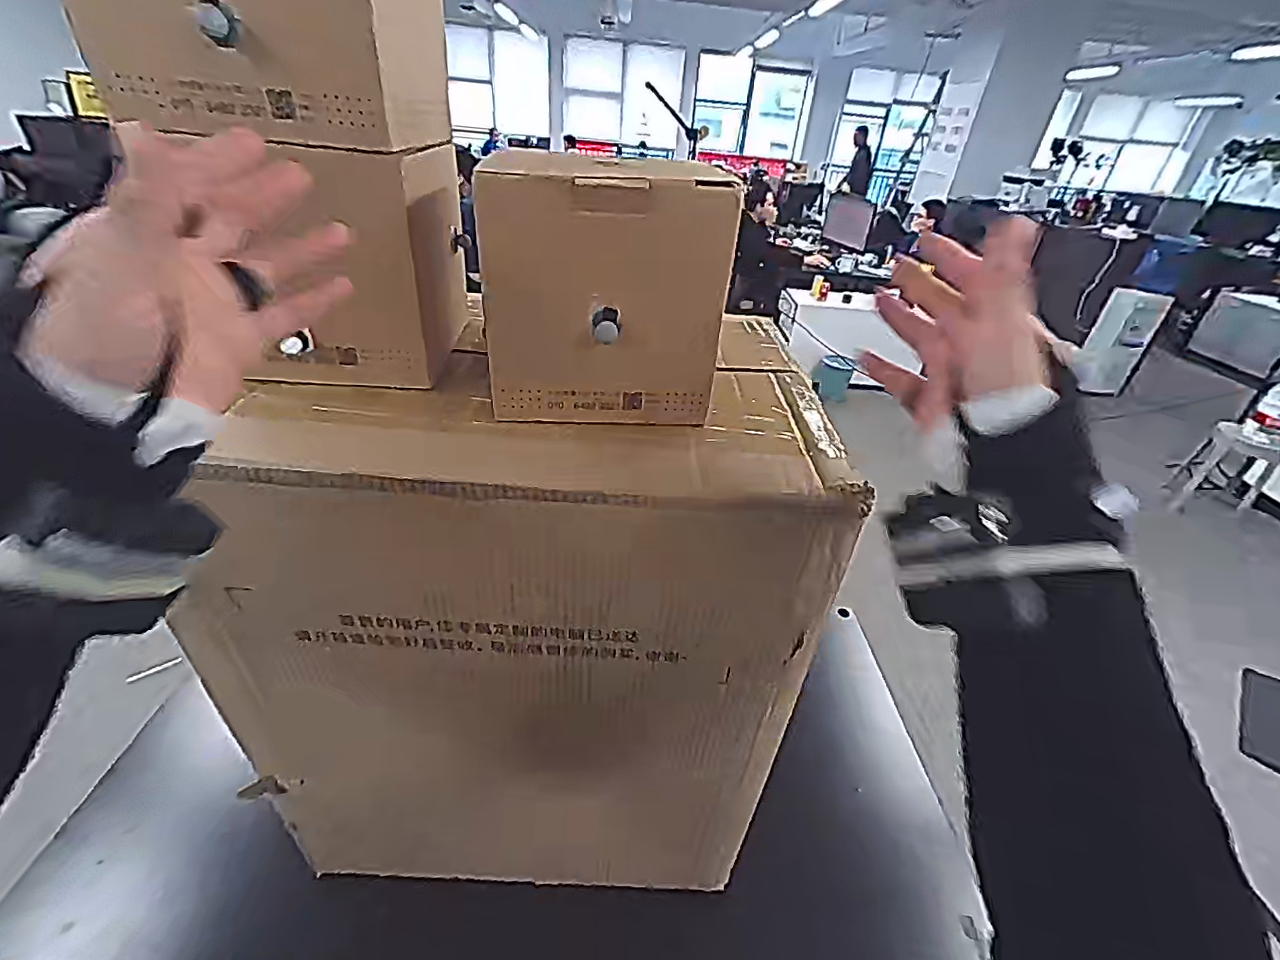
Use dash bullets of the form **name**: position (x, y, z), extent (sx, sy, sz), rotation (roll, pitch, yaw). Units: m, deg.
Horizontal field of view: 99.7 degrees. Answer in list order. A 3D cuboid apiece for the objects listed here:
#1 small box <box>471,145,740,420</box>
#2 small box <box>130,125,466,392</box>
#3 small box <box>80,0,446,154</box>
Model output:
- **small box**: position (-0.030, -0.159, 0.434), extent (0.168, 0.176, 0.179), rotation (1, 35, -7)
- **small box**: position (-0.246, -0.188, 0.450), extent (0.168, 0.176, 0.179), rotation (1, 35, -7)
- **small box**: position (-0.234, -0.324, 0.356), extent (0.168, 0.176, 0.179), rotation (2, 34, -5)
